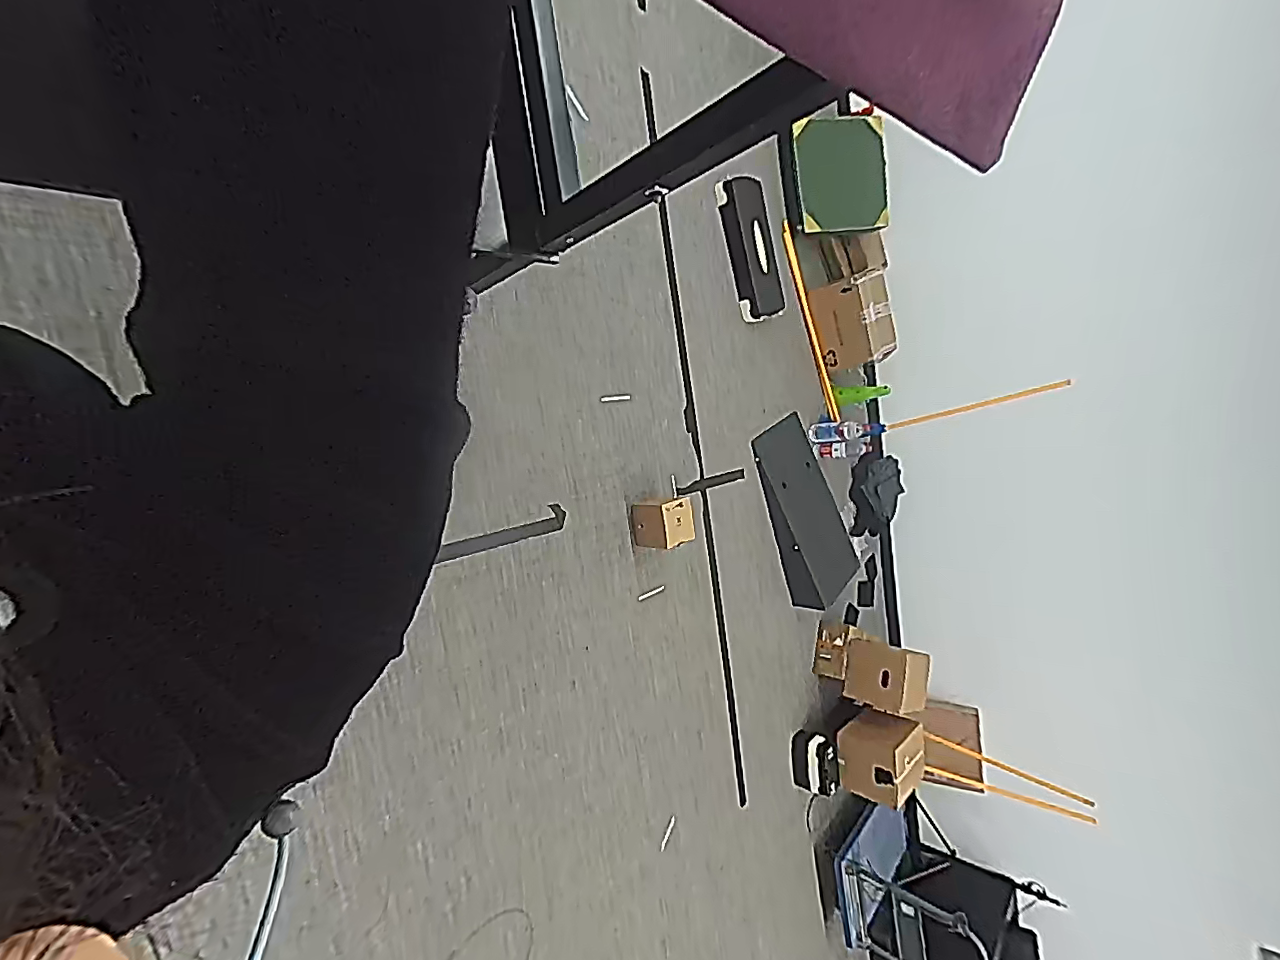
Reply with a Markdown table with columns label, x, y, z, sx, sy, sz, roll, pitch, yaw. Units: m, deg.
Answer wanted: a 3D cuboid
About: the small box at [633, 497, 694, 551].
| label | x | y | z | sx | sy | sz | roll | pitch | yaw |
| --- | --- | --- | --- | --- | --- | --- | --- | --- | --- |
| small box | 0.092 | 0.168 | 2.134 | 0.168 | 0.176 | 0.179 | -14 | 100 | -44 |
